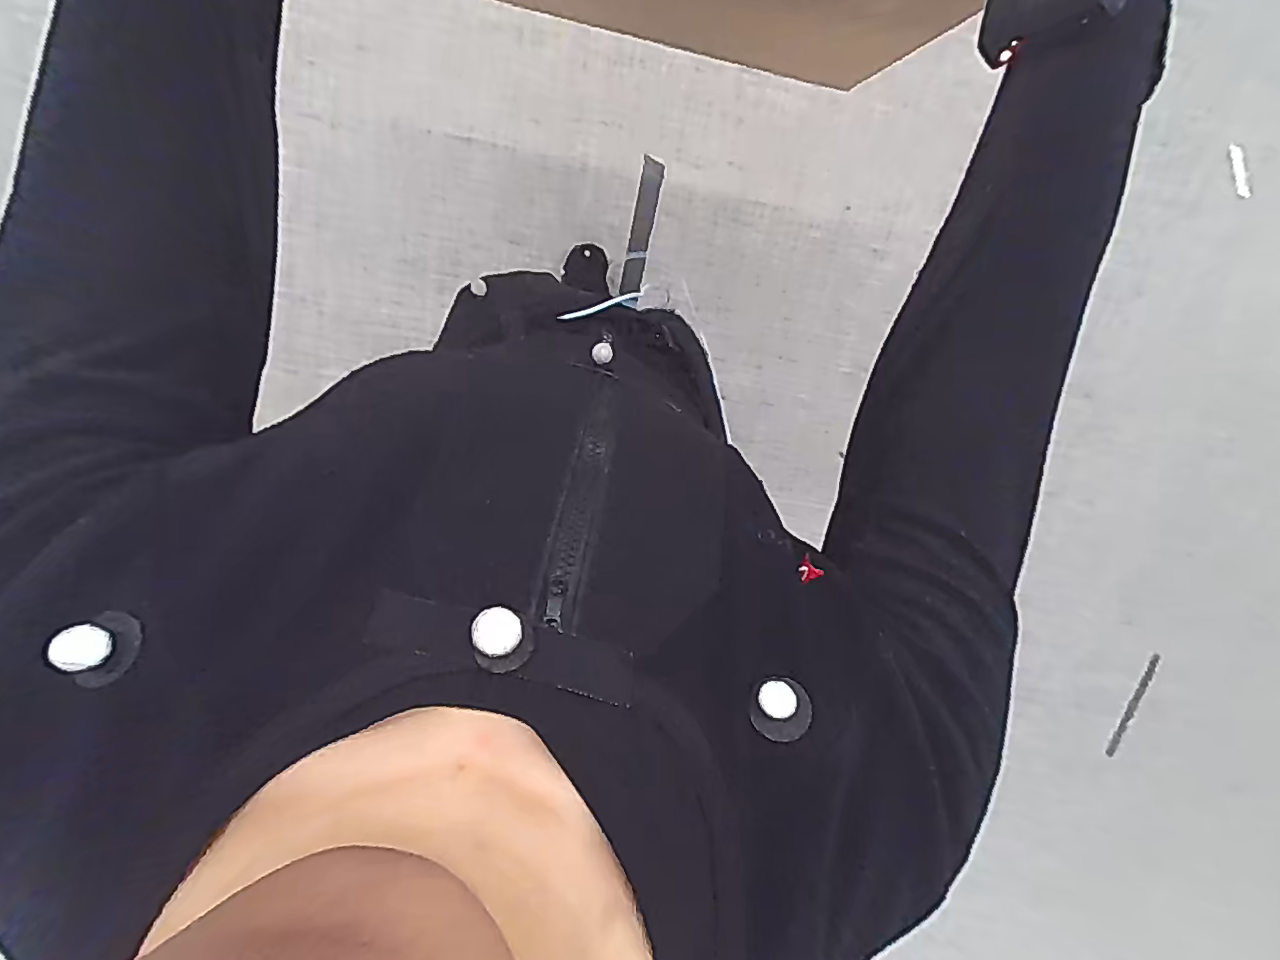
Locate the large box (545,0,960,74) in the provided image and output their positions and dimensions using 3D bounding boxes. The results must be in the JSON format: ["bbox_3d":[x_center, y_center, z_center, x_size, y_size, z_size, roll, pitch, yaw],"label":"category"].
[{"bbox_3d":[0.067,-0.544,0.377,0.408,0.320,0.320,10,117,-6],"label":"large box"}]
